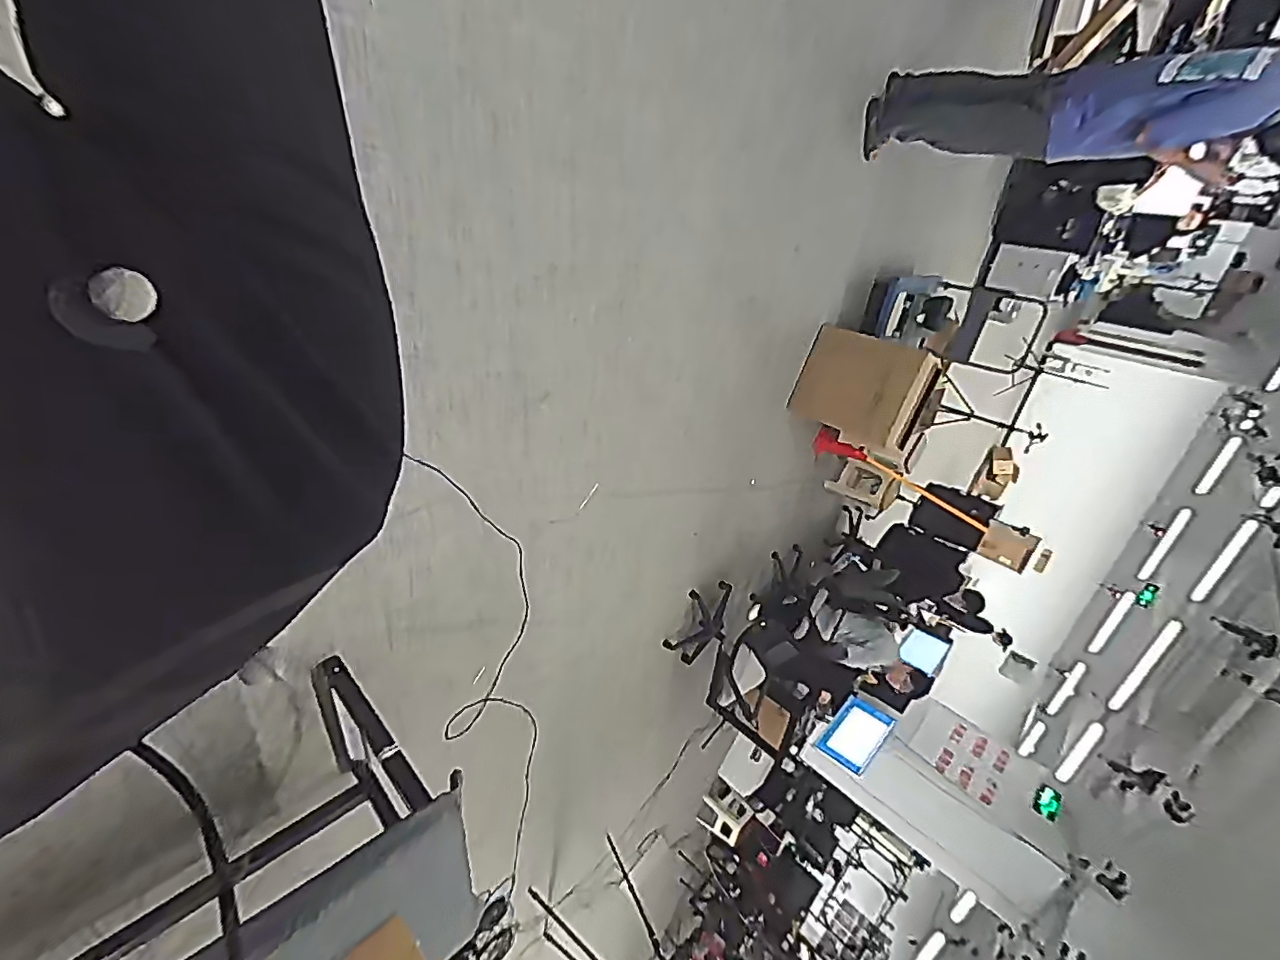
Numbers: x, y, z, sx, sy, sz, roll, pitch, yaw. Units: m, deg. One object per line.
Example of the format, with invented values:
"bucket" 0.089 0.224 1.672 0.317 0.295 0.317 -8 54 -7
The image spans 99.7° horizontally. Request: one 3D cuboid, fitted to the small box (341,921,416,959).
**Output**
"small box" -0.598 1.168 1.228 0.179 0.176 0.168 -24 130 -40
